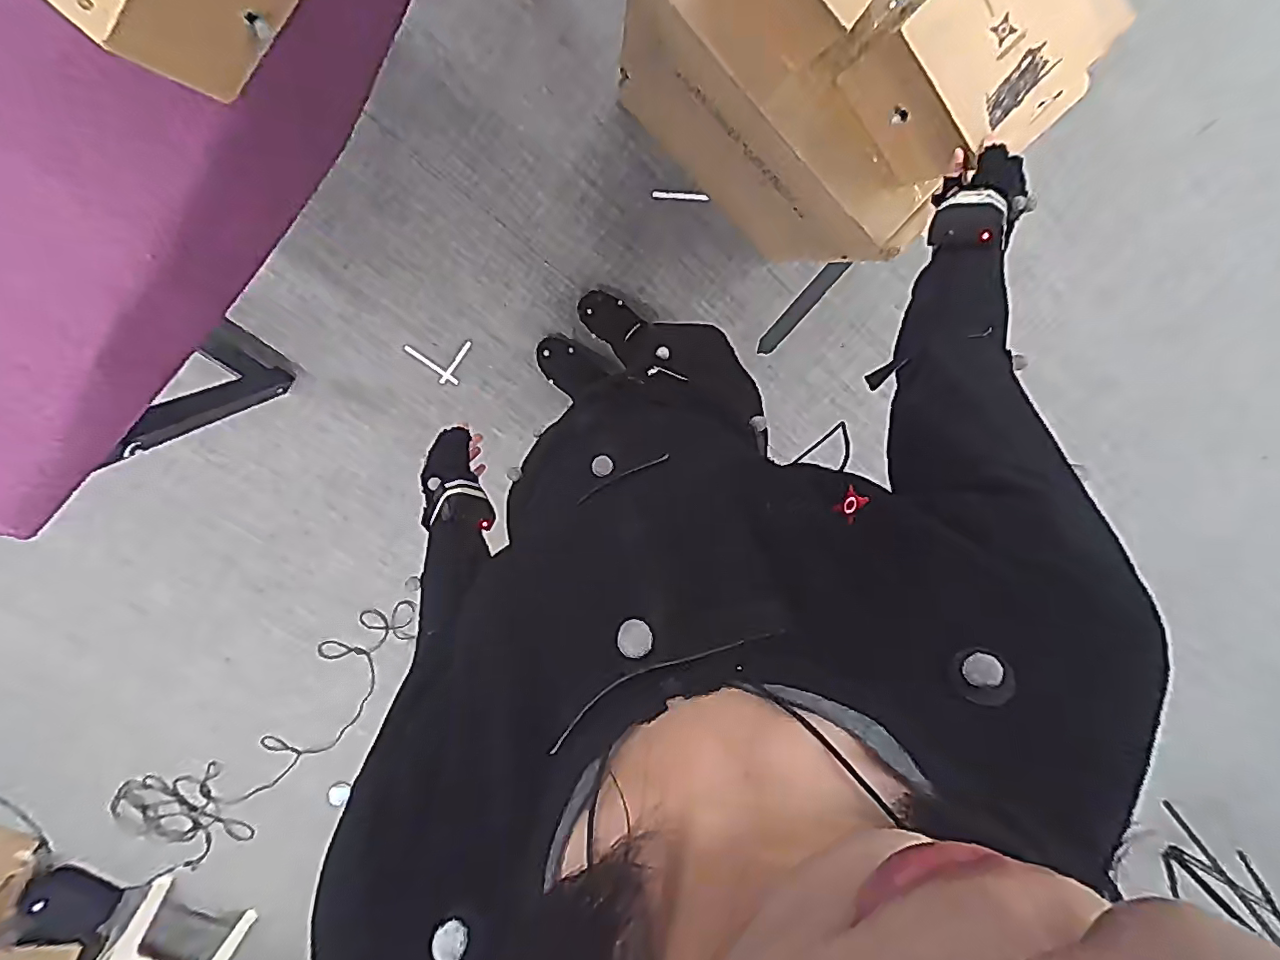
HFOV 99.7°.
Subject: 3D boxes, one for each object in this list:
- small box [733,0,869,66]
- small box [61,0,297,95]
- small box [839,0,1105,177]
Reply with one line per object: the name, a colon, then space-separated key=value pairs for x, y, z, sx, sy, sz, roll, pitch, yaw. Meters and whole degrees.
small box: x=0.194 y=-0.605 z=0.586 sx=0.179 sy=0.176 sz=0.168 roll=37 pitch=105 yaw=-18
small box: x=-0.432 y=-0.489 z=0.467 sx=0.168 sy=0.176 sz=0.179 roll=42 pitch=102 yaw=-17
small box: x=0.377 y=-0.492 z=0.643 sx=0.168 sy=0.176 sz=0.179 roll=-43 pitch=108 yaw=11
